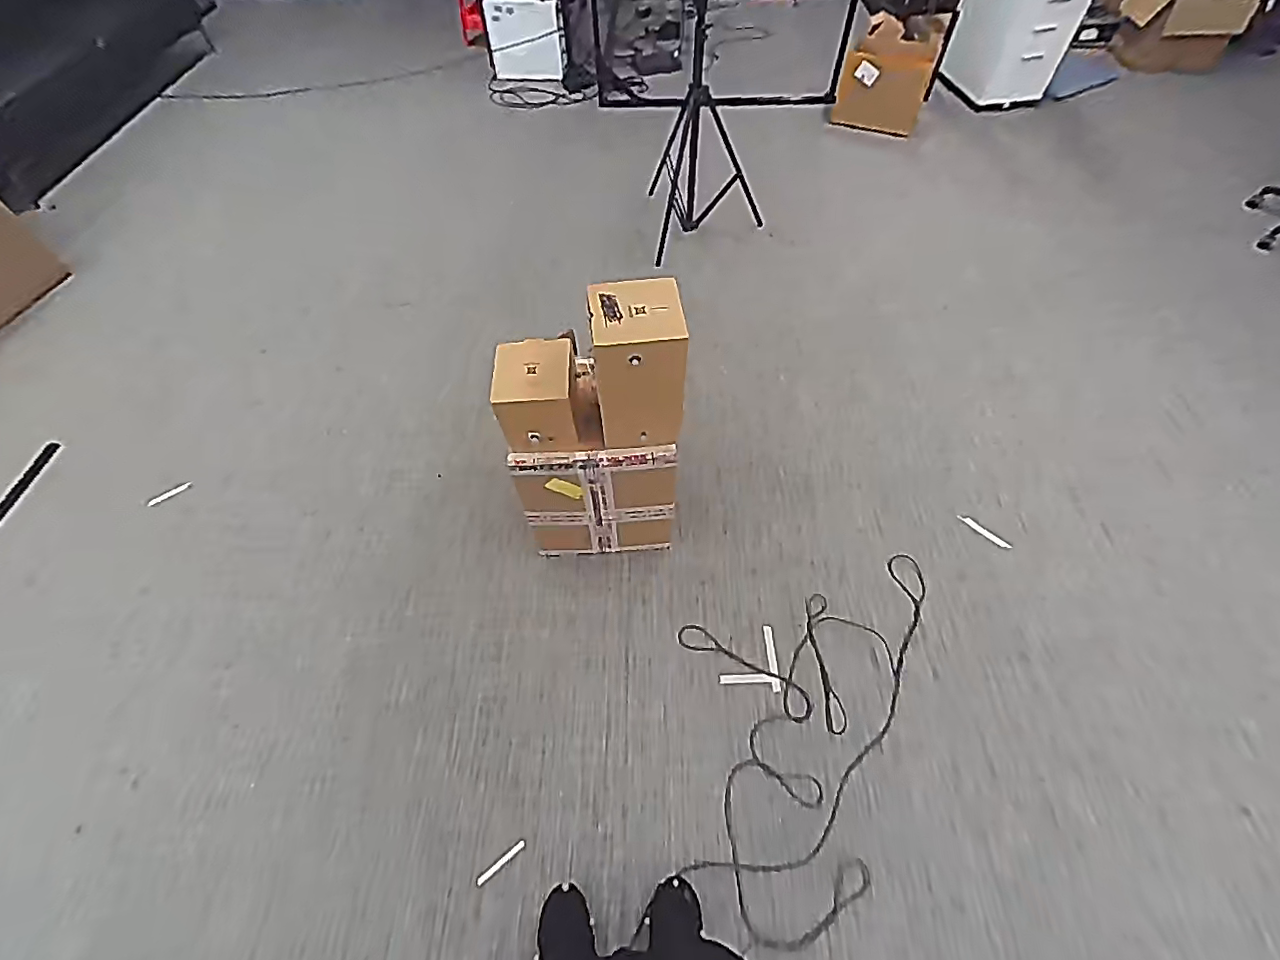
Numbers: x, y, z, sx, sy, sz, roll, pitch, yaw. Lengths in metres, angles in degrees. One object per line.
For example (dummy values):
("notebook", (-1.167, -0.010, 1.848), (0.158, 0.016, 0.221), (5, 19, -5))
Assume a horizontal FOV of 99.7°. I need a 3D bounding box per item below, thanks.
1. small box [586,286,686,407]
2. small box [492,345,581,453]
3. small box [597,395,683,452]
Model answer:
("small box", (-0.009, -0.261, 1.086), (0.179, 0.176, 0.168), (-6, 59, -4))
("small box", (-0.229, -0.183, 1.236), (0.168, 0.176, 0.179), (-4, 60, 1))
("small box", (-0.007, -0.180, 1.230), (0.179, 0.176, 0.168), (-6, 59, -4))
